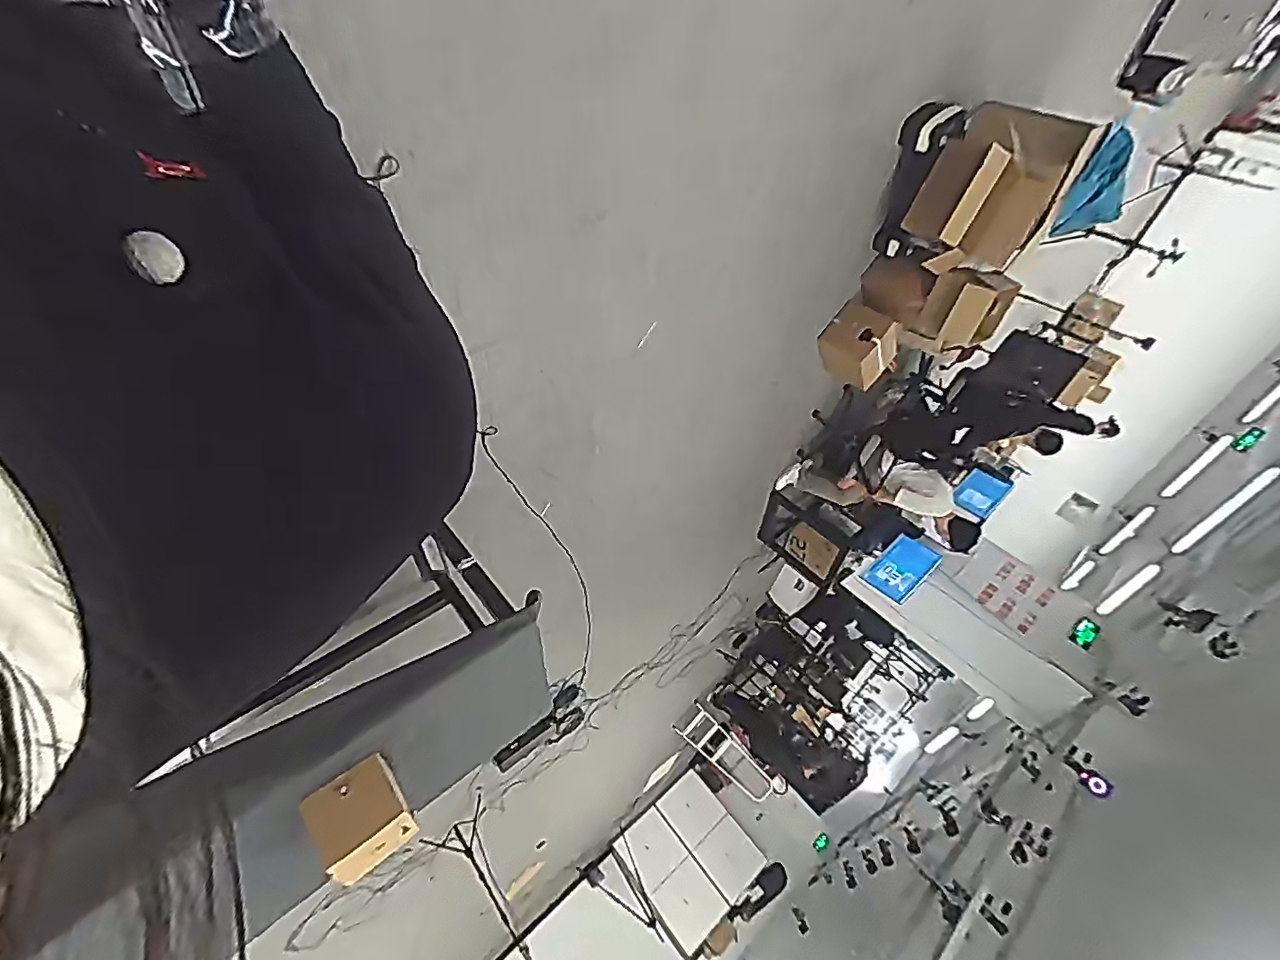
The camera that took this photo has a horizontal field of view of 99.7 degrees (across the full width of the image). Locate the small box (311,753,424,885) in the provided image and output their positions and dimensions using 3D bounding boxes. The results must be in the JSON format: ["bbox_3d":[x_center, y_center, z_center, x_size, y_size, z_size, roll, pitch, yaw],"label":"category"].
[{"bbox_3d":[-0.638,0.786,1.262,0.179,0.176,0.168,-29,145,-31],"label":"small box"}]
